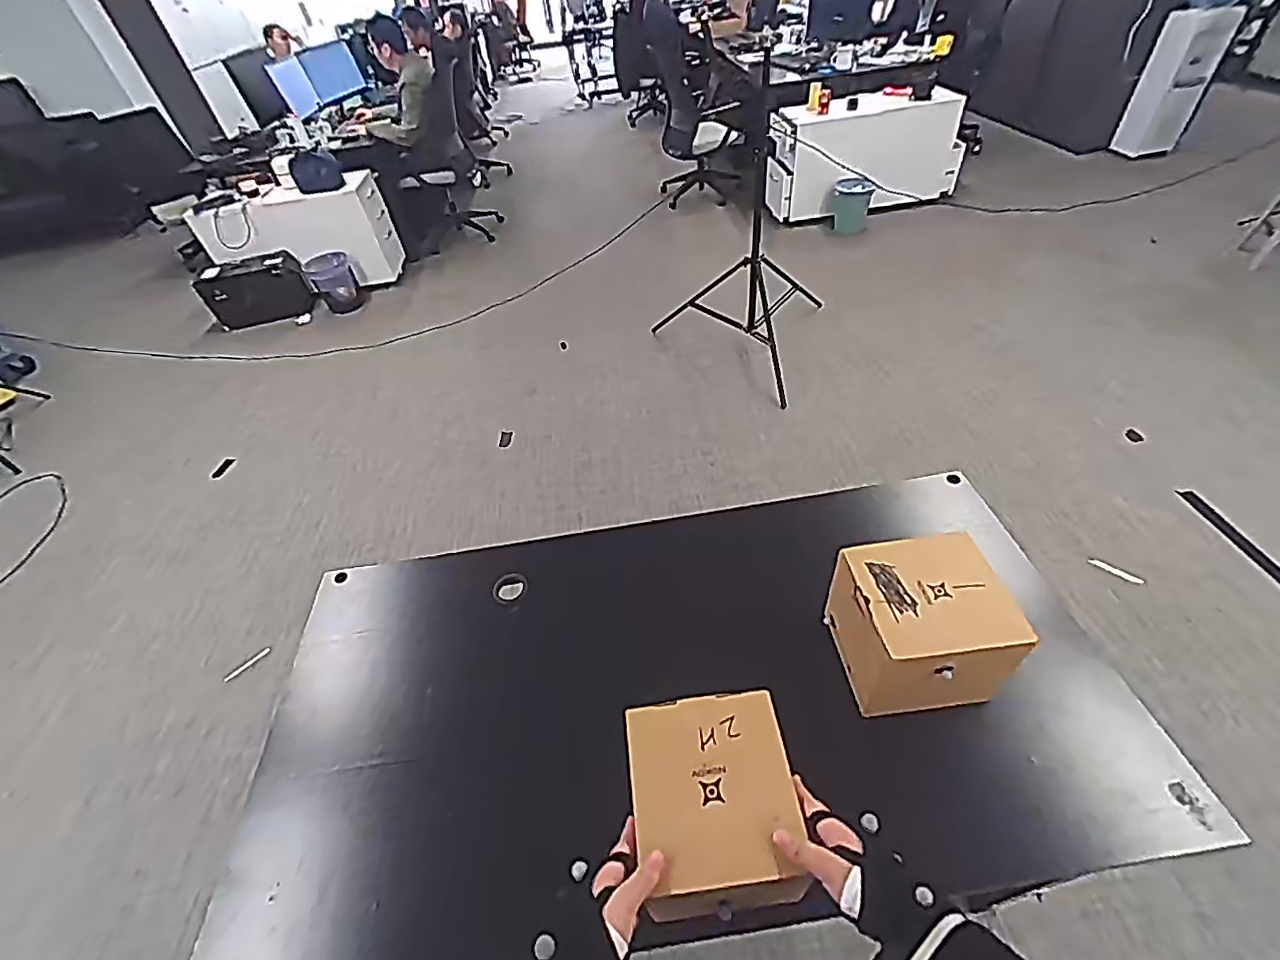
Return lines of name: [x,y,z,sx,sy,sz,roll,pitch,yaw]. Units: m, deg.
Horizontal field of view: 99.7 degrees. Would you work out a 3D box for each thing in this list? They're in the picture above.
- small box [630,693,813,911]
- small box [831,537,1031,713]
small box: [0.084,0.371,0.618,0.168,0.176,0.179,-8,45,0]
small box: [0.375,0.202,0.742,0.179,0.176,0.168,-7,45,1]
